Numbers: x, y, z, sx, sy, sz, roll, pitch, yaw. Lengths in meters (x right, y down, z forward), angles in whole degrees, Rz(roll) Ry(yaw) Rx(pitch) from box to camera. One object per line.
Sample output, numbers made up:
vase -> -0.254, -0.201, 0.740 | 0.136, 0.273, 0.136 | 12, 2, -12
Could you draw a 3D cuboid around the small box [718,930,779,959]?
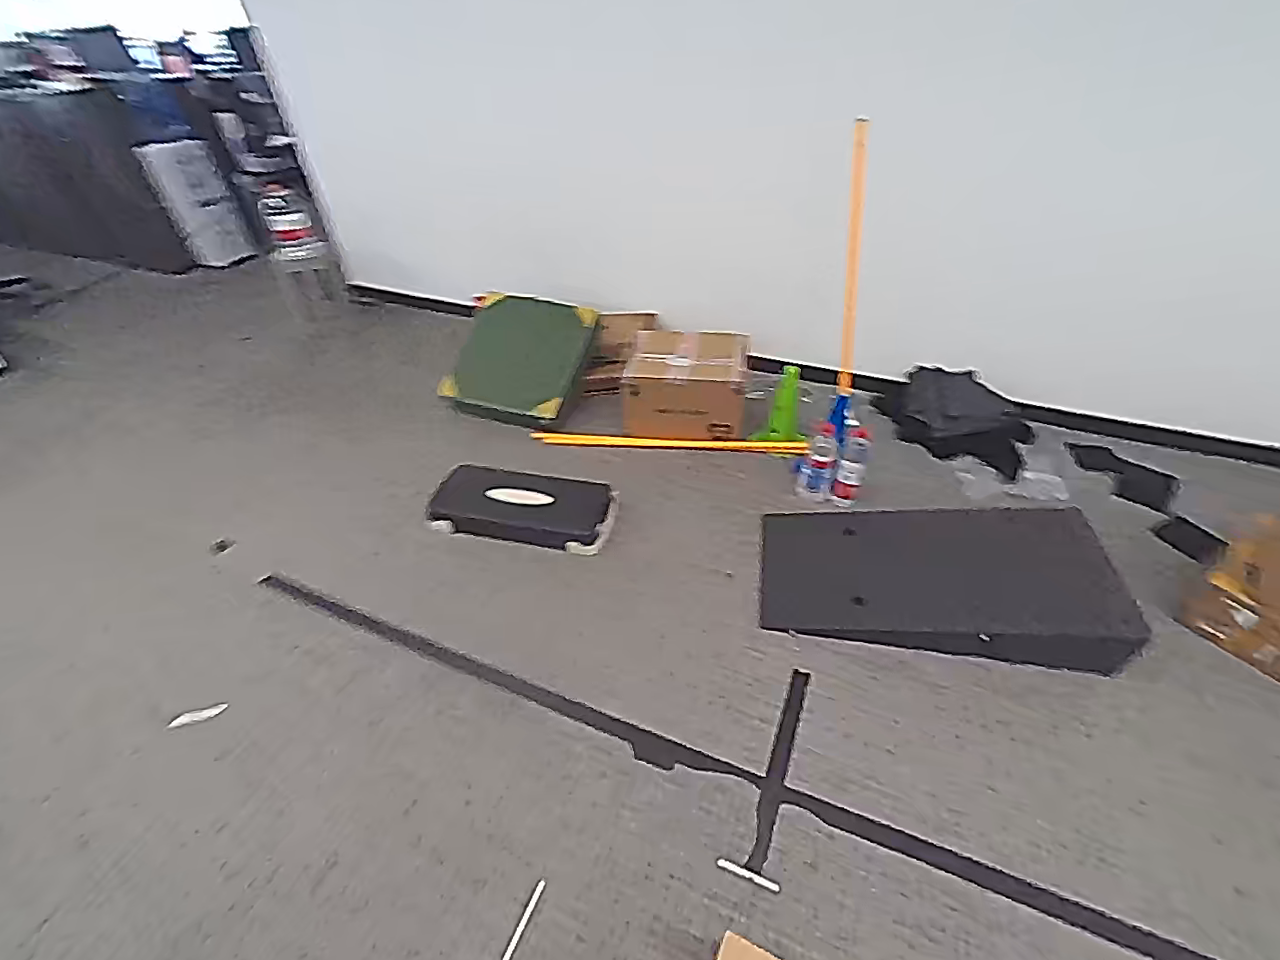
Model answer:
small box -> 0.201, 0.967, 0.969 | 0.168, 0.176, 0.179 | 18, 45, 20
